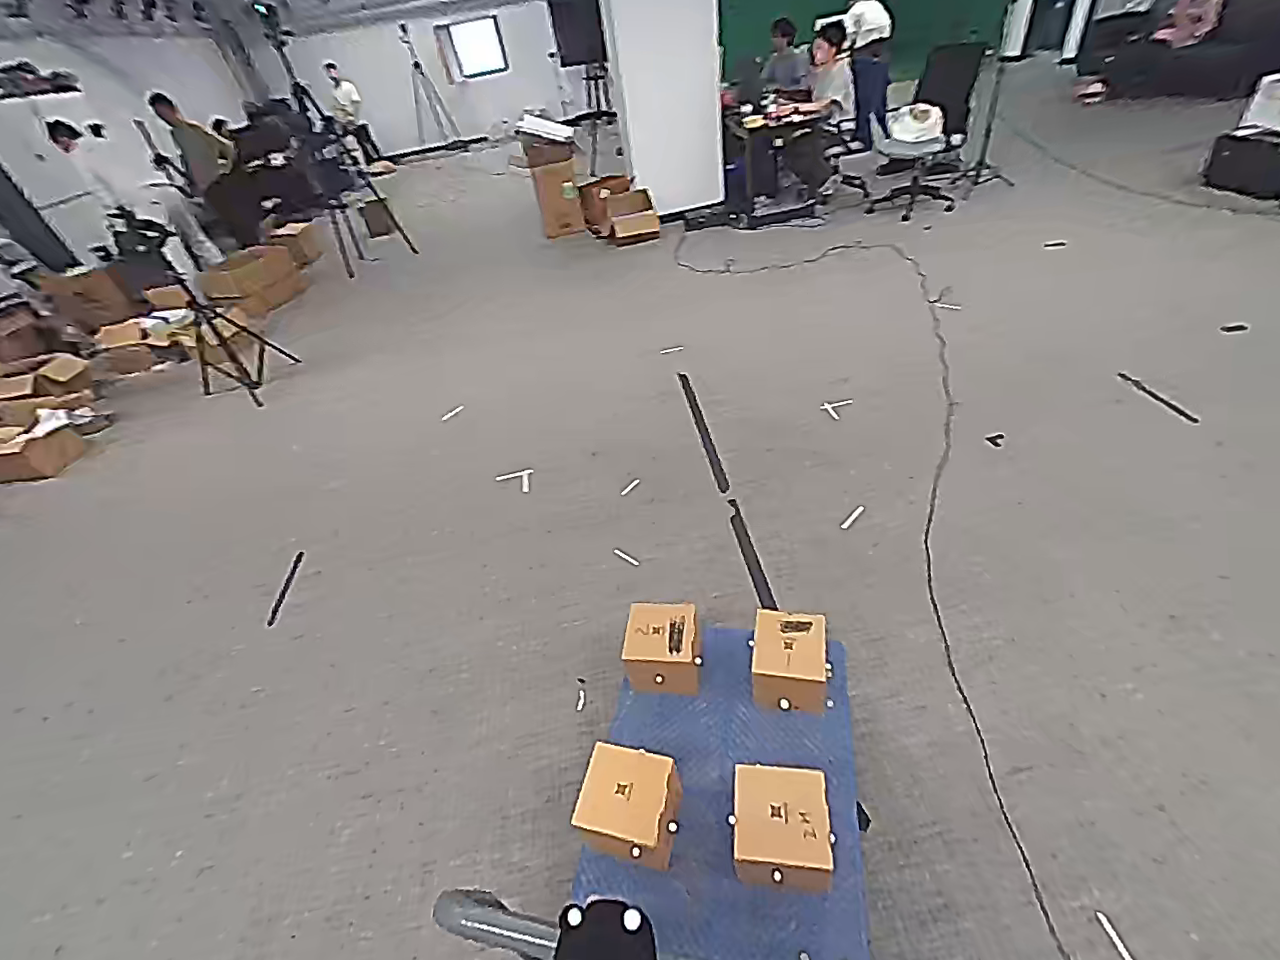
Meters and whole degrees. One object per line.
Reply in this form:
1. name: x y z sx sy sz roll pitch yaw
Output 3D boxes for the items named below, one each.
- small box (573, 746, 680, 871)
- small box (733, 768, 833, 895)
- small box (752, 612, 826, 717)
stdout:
1. small box: -0.020 0.698 1.147 0.179 0.176 0.168 4 42 16
2. small box: 0.280 0.697 1.072 0.179 0.176 0.168 -2 41 12
3. small box: 0.367 0.454 1.334 0.168 0.176 0.179 2 43 16
